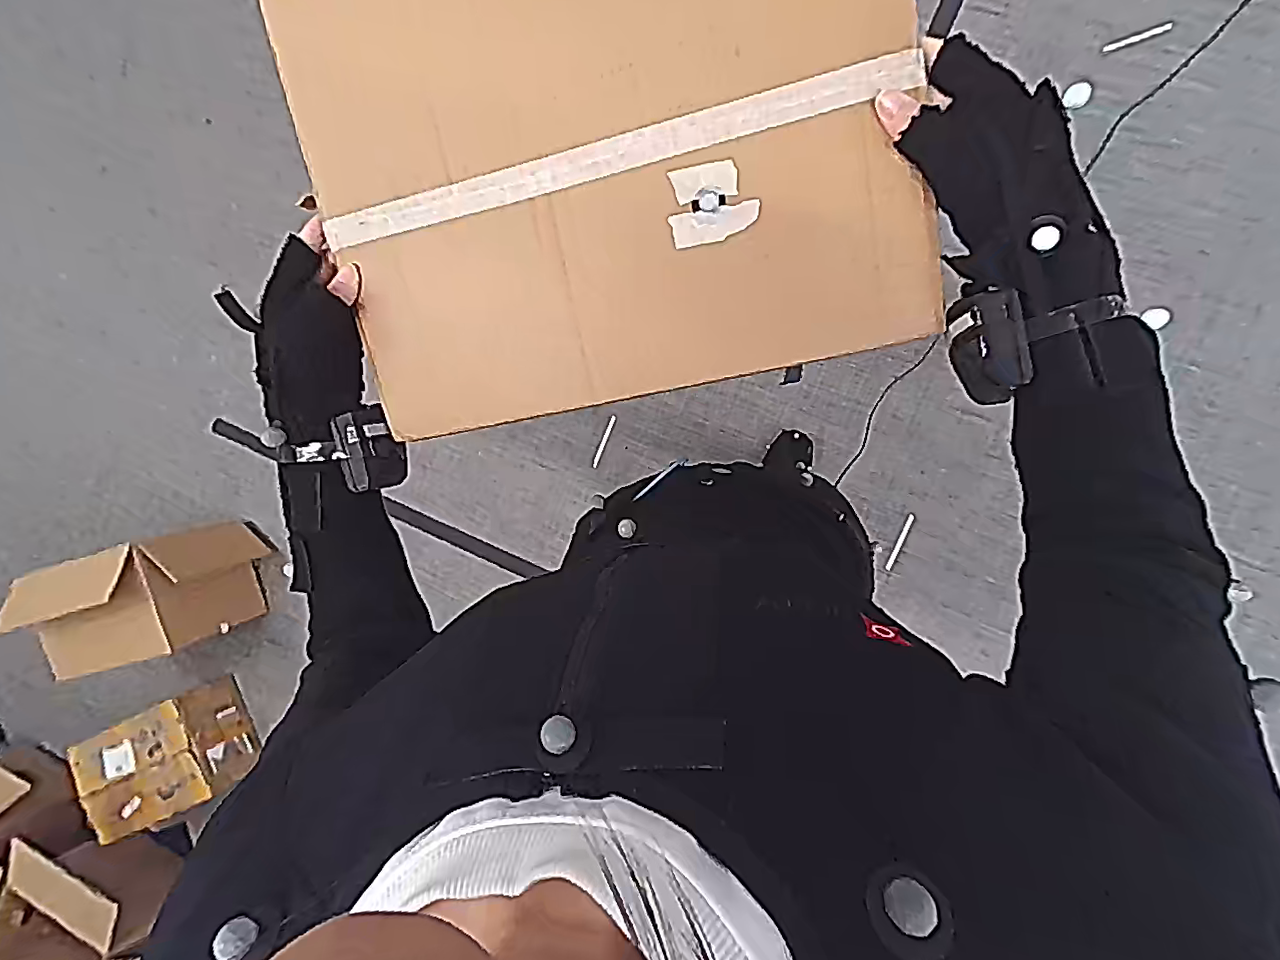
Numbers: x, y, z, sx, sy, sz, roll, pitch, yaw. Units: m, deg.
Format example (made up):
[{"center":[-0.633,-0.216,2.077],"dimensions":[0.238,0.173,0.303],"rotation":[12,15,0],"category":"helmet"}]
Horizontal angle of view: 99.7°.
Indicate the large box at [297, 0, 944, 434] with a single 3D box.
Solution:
[{"center":[0.000,-0.251,0.514],"dimensions":[0.408,0.320,0.320],"rotation":[-10,102,9],"category":"large box"}]
